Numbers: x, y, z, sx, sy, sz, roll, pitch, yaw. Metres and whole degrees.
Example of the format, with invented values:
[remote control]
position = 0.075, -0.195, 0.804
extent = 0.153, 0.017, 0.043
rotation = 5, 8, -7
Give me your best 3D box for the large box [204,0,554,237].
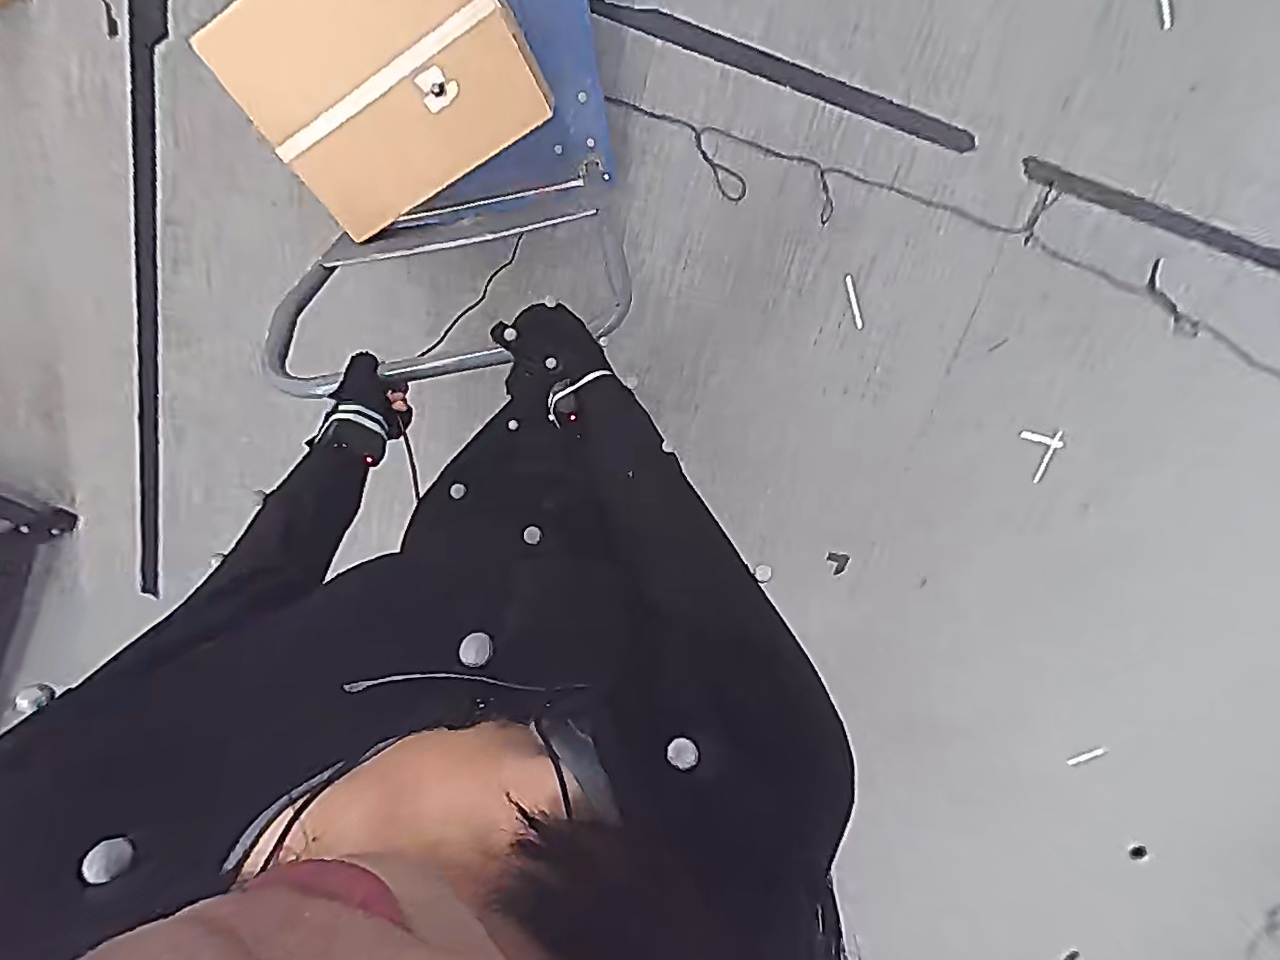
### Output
[large box]
position = -0.395, -0.695, 0.923
extent = 0.408, 0.320, 0.320
rotation = -27, 128, 12
